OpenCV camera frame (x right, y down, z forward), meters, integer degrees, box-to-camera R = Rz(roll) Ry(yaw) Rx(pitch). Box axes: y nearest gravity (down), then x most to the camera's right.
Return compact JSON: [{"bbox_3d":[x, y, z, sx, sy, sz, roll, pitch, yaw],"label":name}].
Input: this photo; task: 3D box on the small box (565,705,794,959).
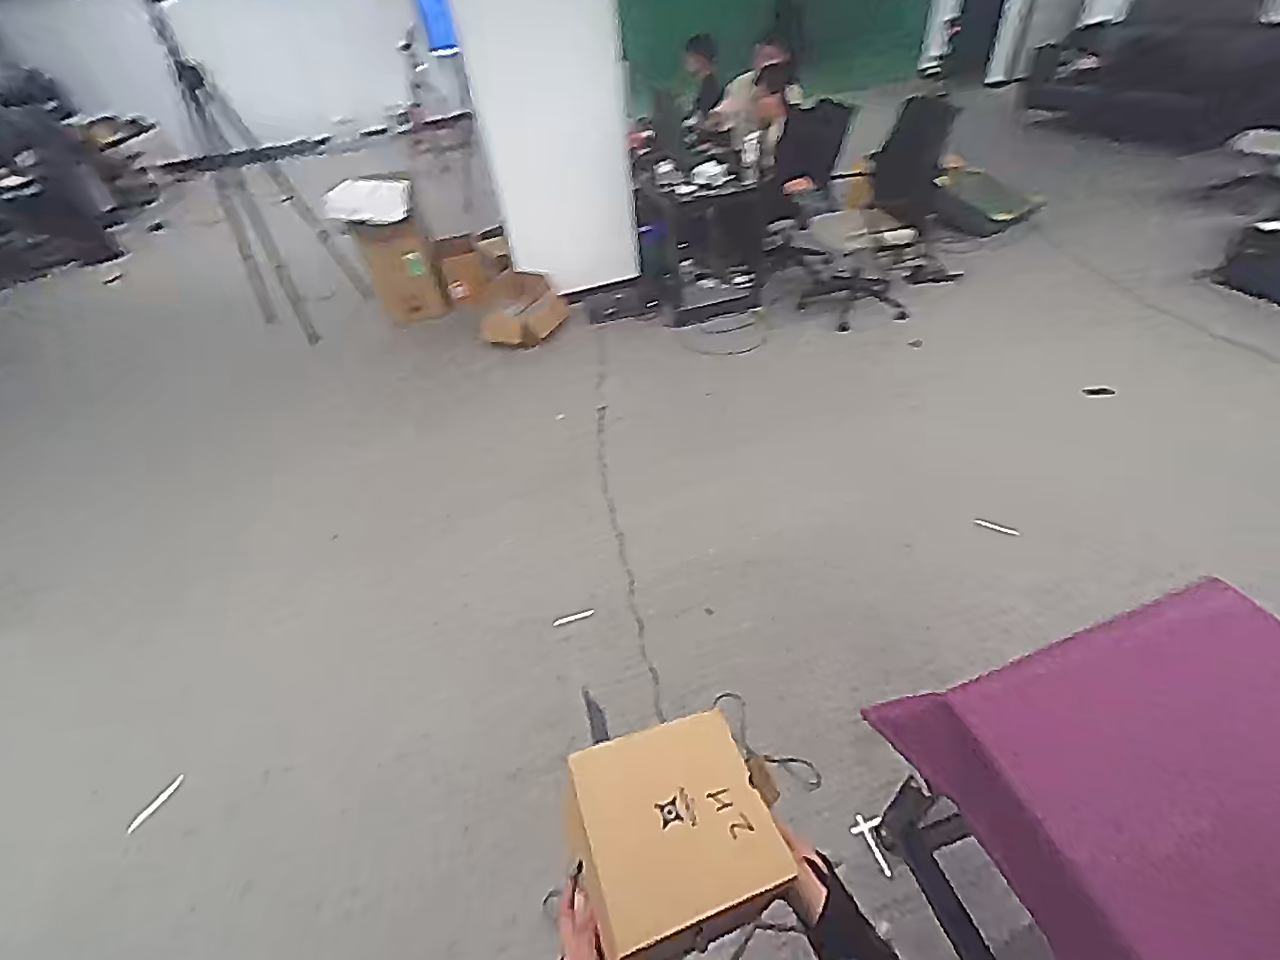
[{"bbox_3d":[0.025,0.373,0.563,0.179,0.176,0.168,-9,42,-21],"label":"small box"}]
